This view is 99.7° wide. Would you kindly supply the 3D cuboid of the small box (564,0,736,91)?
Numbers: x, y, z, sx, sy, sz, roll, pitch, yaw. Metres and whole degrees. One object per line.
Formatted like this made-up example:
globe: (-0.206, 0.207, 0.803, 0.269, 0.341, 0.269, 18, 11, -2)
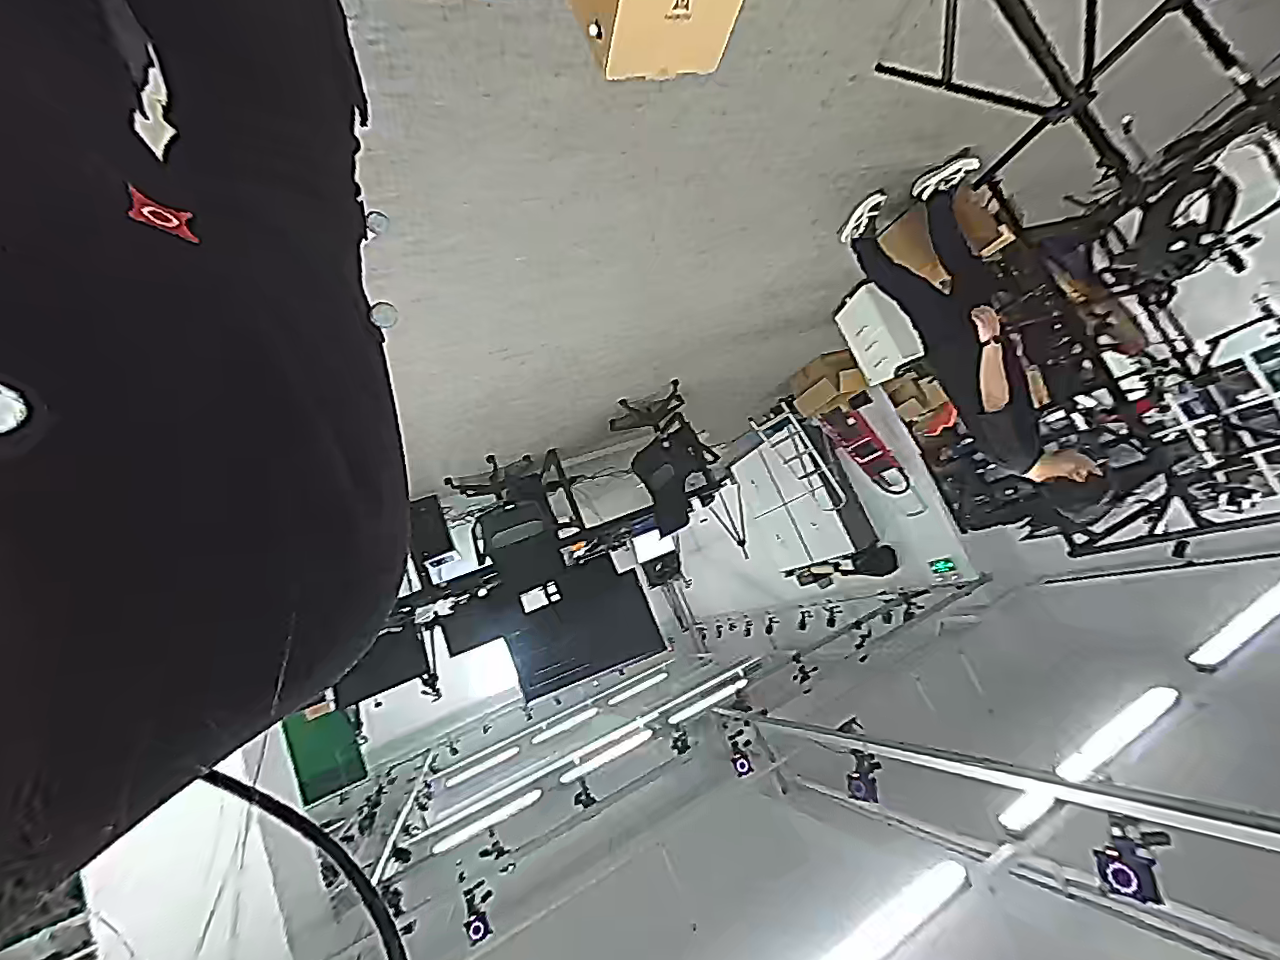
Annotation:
small box: (0.007, -0.618, 0.648, 0.168, 0.176, 0.179, -18, 171, -18)
